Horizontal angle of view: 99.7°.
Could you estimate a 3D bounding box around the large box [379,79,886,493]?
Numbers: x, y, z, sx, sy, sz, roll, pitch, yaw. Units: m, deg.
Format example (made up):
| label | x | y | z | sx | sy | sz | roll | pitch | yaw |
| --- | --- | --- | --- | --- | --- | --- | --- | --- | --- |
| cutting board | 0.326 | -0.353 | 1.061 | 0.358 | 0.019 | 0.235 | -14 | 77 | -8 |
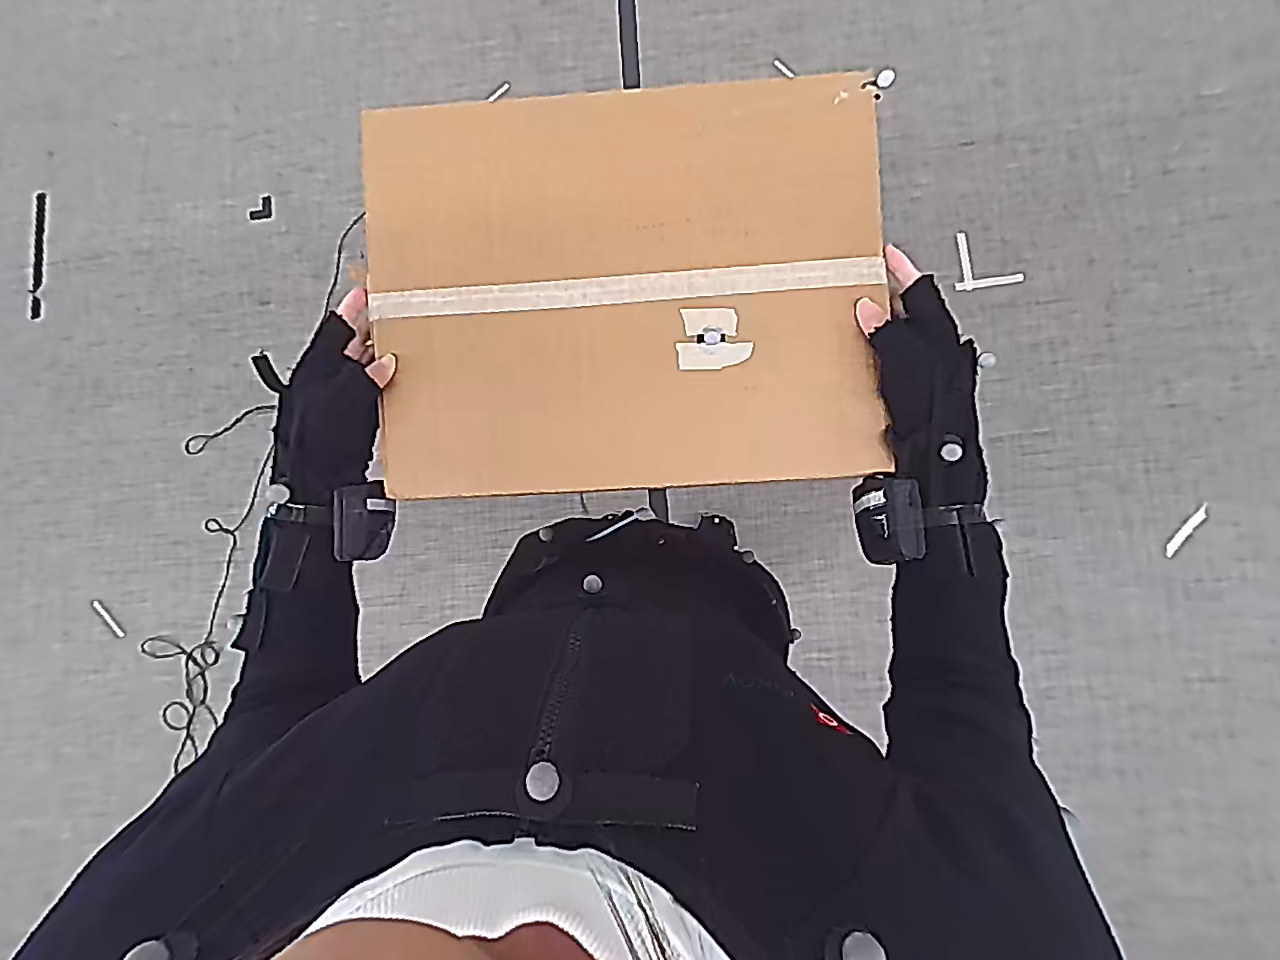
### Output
| label | x | y | z | sx | sy | sz | roll | pitch | yaw |
| --- | --- | --- | --- | --- | --- | --- | --- | --- | --- |
| large box | -0.006 | -0.158 | 0.588 | 0.408 | 0.320 | 0.320 | -3 | 91 | 1 |
